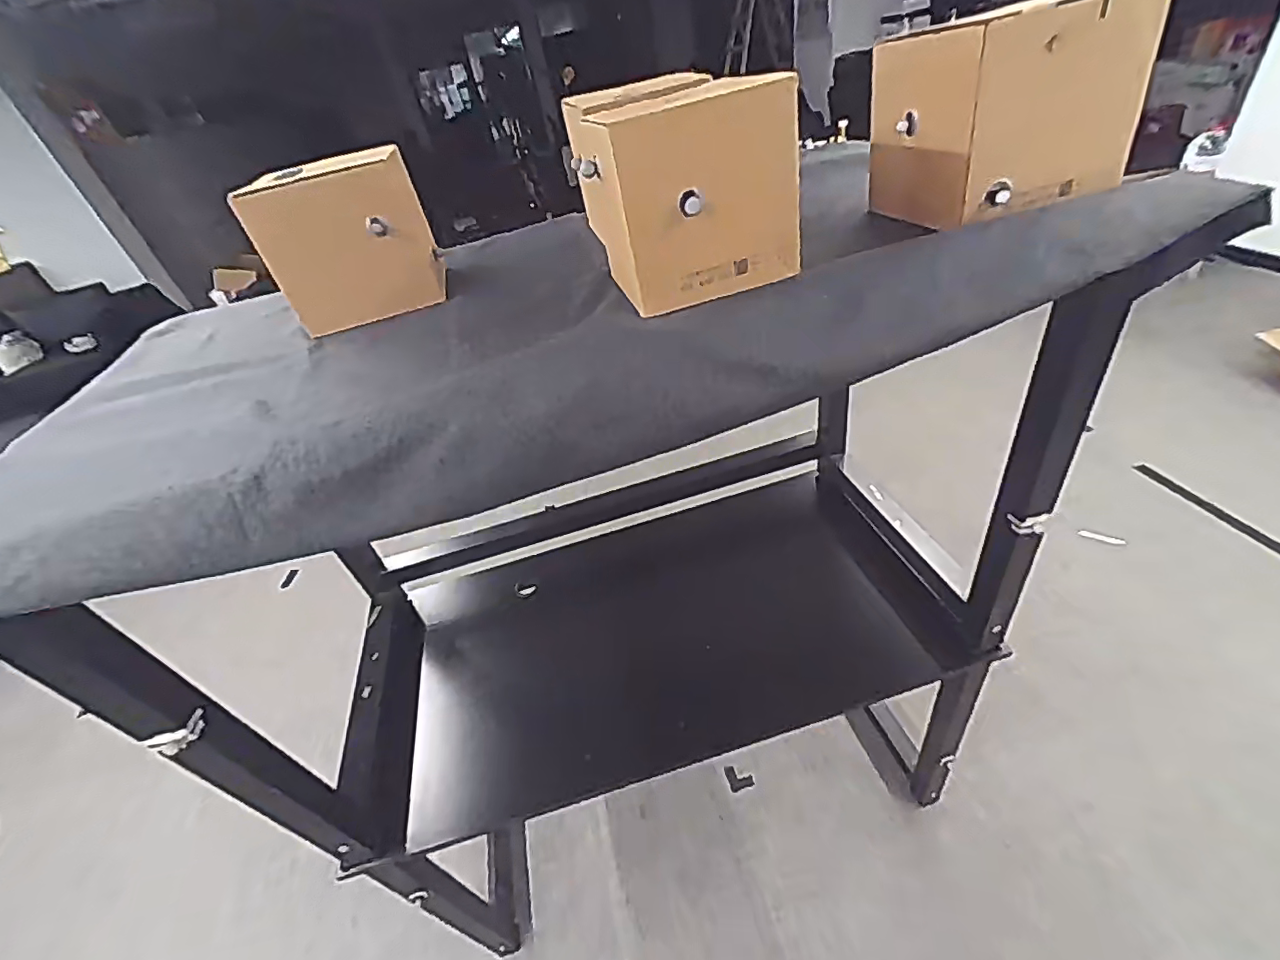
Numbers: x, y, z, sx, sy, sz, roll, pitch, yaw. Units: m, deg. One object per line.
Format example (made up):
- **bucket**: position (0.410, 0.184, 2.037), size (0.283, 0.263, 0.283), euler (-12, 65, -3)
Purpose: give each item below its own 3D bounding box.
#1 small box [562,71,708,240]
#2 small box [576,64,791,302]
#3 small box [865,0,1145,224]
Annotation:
- **small box**: position (-0.001, -0.447, 0.754), size (0.168, 0.176, 0.179), euler (-17, 37, -5)
- **small box**: position (0.044, -0.297, 0.553), size (0.168, 0.176, 0.179), euler (-17, 36, -4)
- **small box**: position (0.351, -0.376, 0.552), size (0.168, 0.176, 0.179), euler (-16, 34, -2)
